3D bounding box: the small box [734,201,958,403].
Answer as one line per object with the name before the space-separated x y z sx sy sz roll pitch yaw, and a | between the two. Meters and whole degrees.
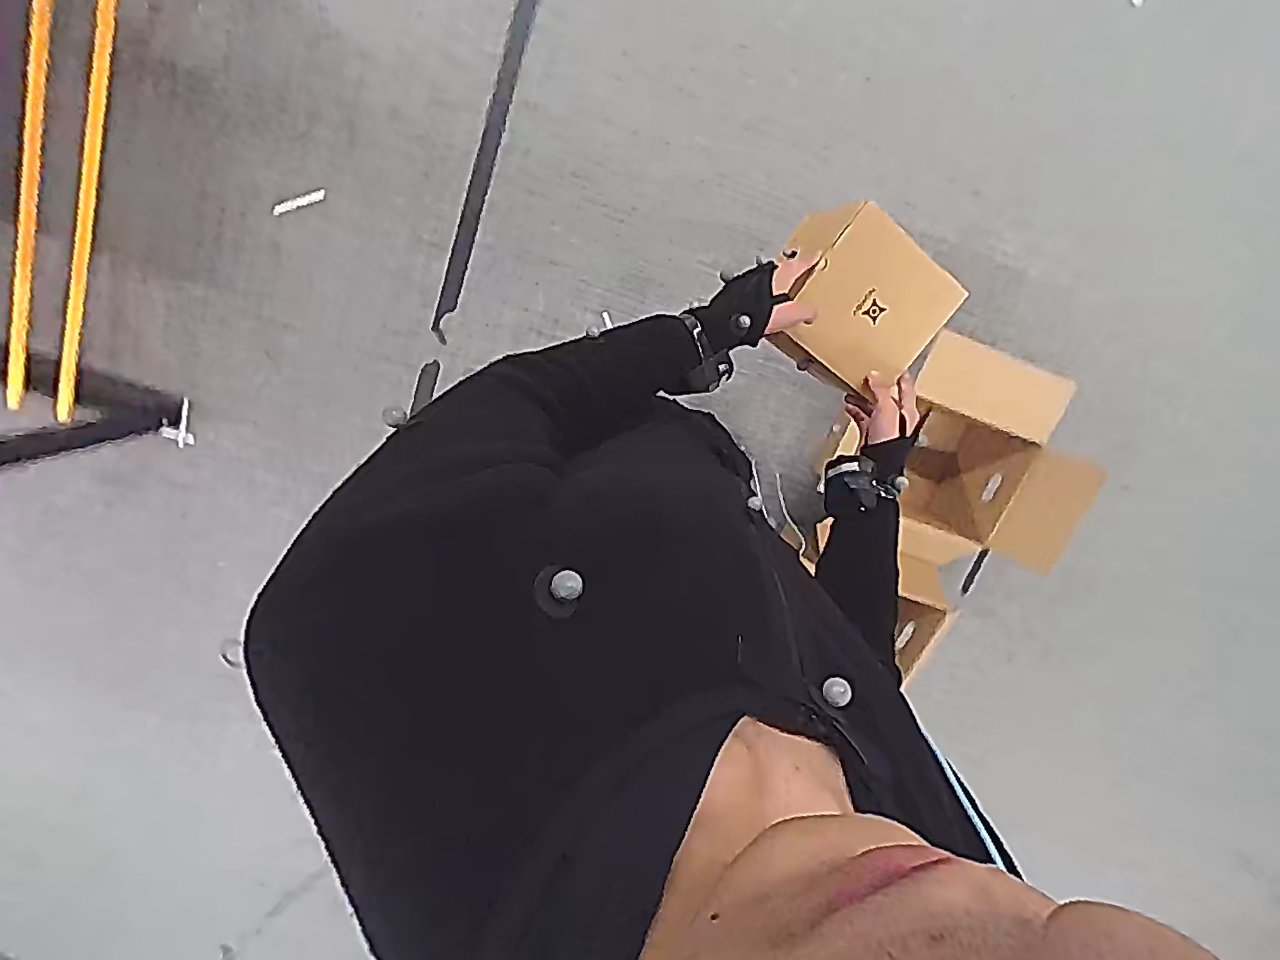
small box | 0.252 -0.230 0.703 0.179 0.176 0.168 31 105 -16
